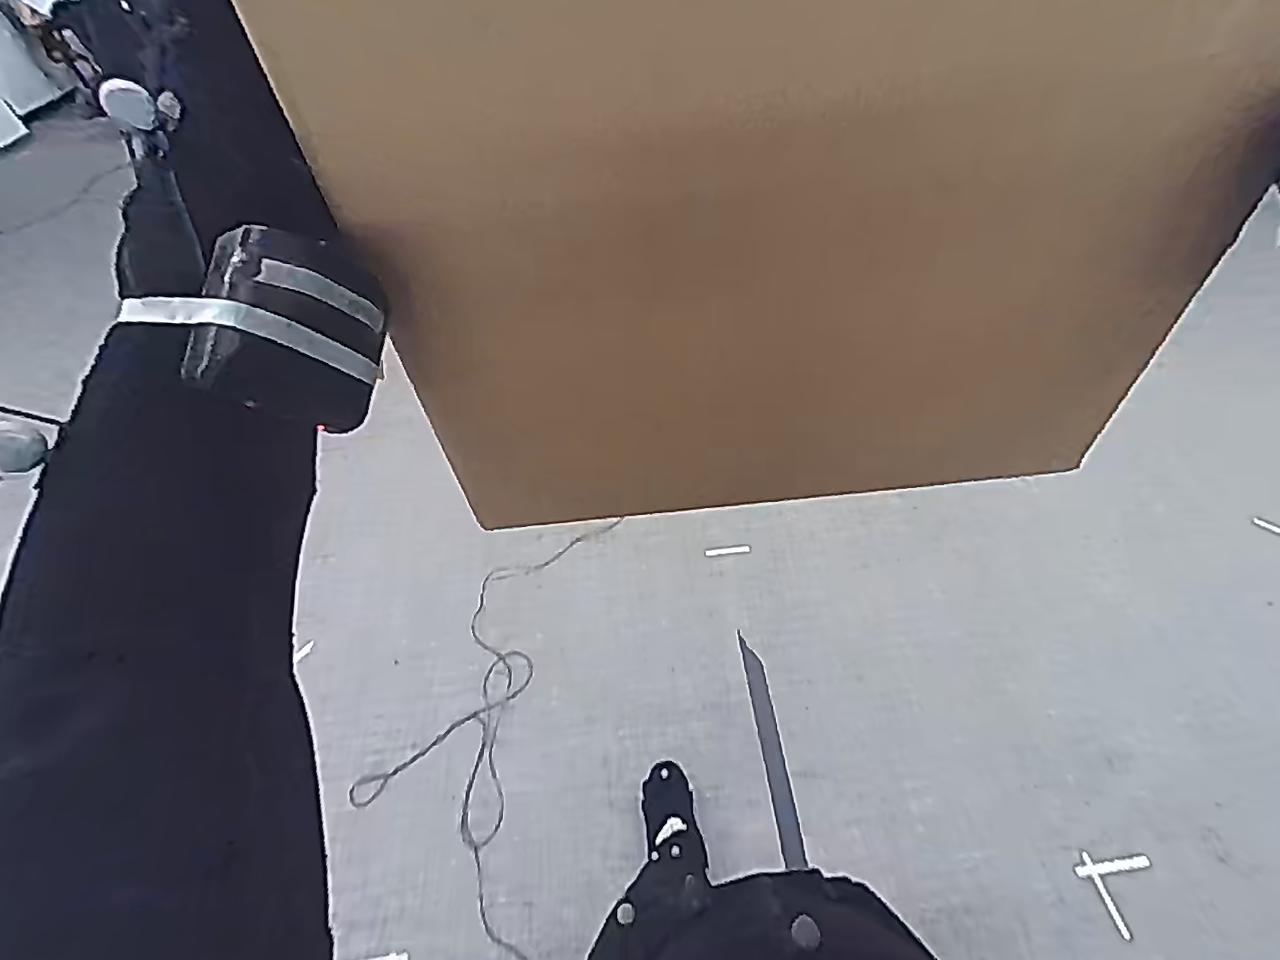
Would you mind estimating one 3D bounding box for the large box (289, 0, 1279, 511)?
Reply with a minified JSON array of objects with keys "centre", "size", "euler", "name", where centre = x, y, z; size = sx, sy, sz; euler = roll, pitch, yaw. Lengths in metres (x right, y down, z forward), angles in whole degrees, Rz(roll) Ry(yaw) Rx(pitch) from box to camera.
[{"centre":[0.066,-0.206,0.378],"size":[0.408,0.320,0.320],"euler":[-6,46,0],"name":"large box"}]
